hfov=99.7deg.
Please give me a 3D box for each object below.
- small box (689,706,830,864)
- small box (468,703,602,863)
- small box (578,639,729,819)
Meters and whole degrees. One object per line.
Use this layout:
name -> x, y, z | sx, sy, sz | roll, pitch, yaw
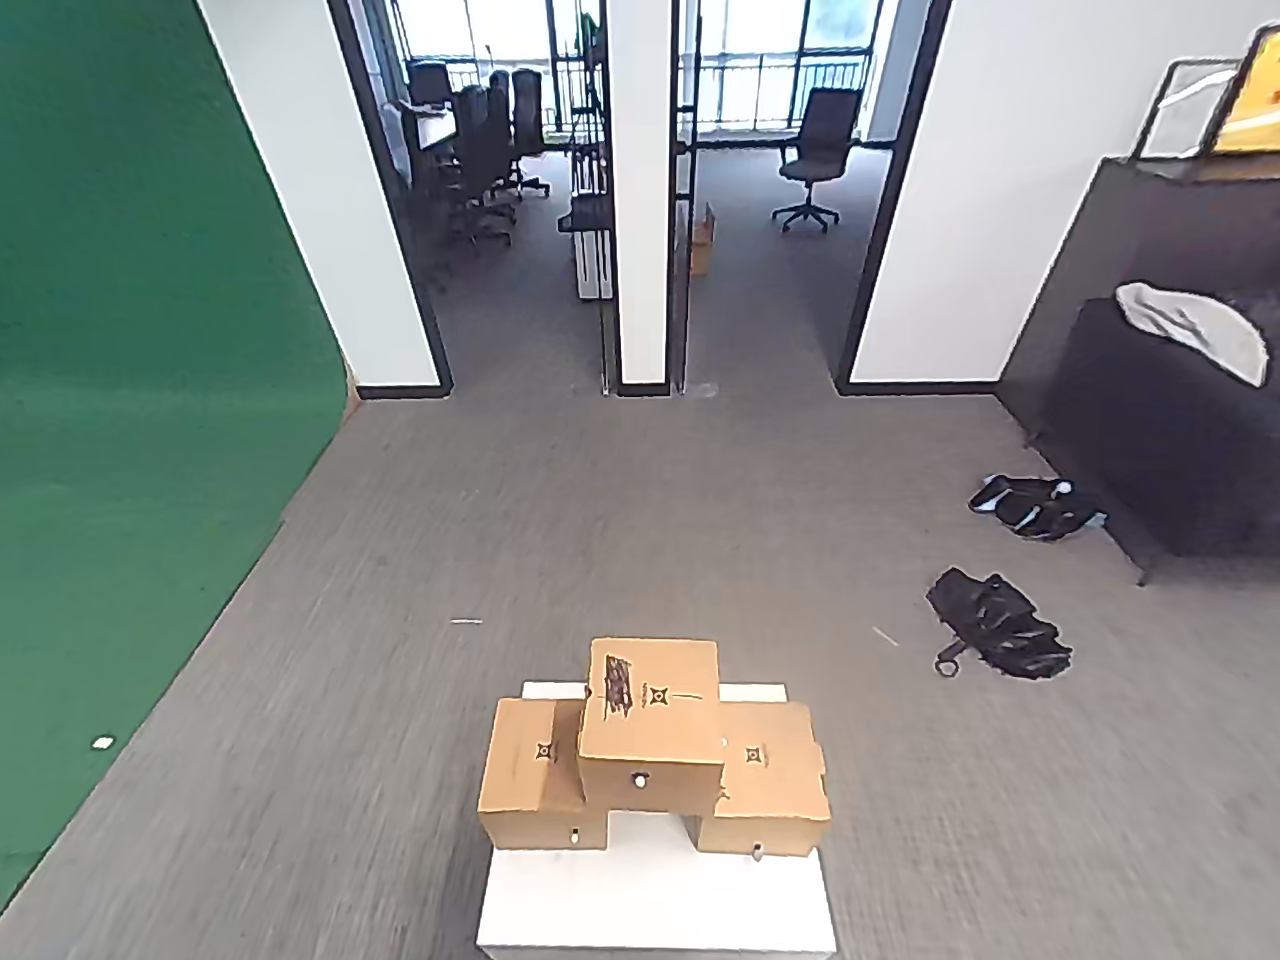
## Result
small box -> 0.168, 0.469, 0.832 | 0.179, 0.176, 0.168 | 1, 40, 0
small box -> -0.145, 0.461, 0.824 | 0.179, 0.176, 0.168 | 0, 38, -3
small box -> 0.016, 0.335, 0.727 | 0.179, 0.176, 0.168 | 2, 40, 0
